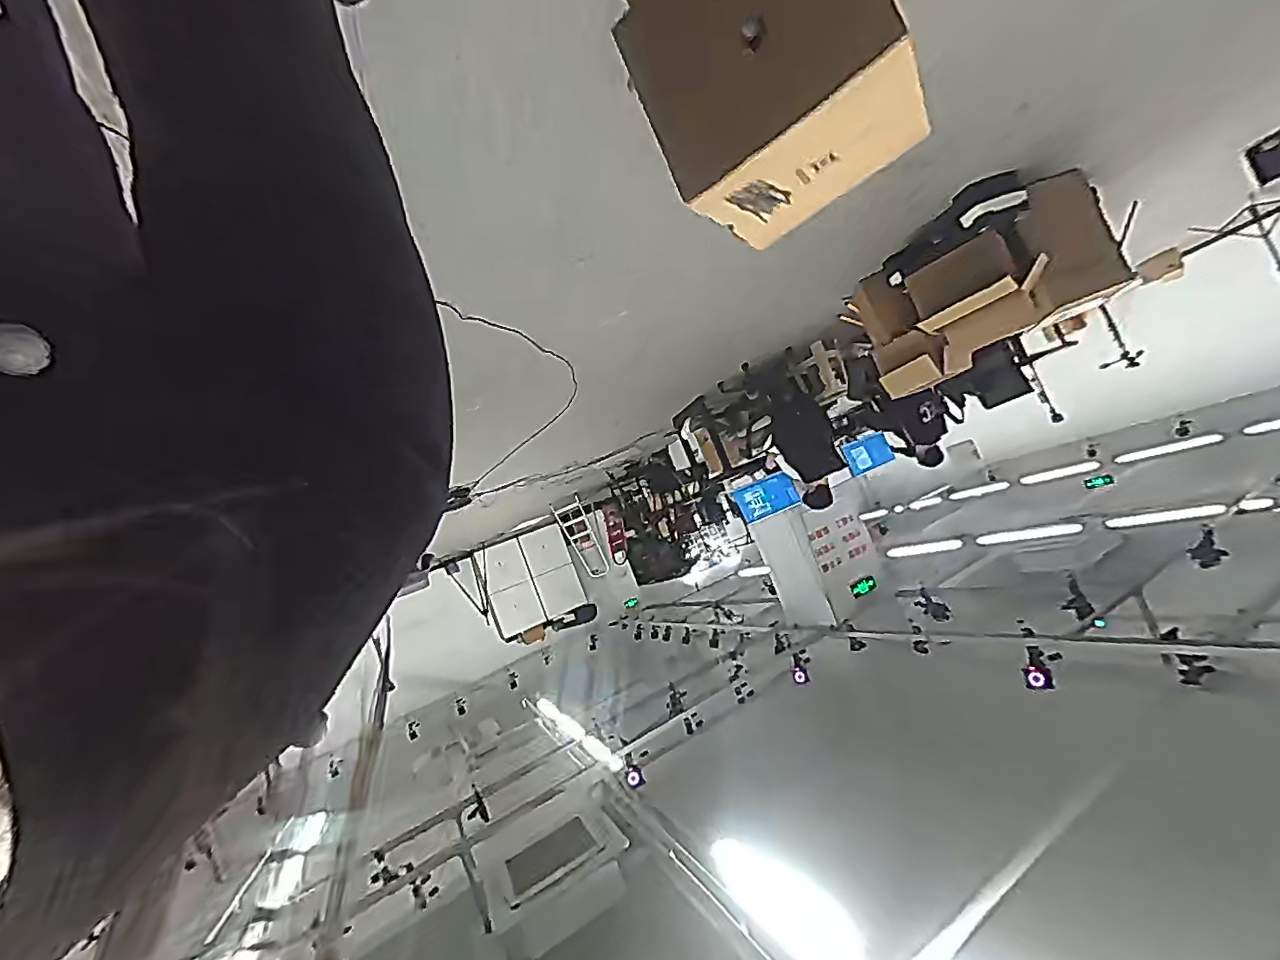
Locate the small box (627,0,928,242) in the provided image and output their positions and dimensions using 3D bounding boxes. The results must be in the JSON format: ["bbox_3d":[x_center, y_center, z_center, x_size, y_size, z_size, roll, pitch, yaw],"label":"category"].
[{"bbox_3d":[0.108,-0.338,0.452,0.179,0.176,0.168,-24,175,37],"label":"small box"}]
